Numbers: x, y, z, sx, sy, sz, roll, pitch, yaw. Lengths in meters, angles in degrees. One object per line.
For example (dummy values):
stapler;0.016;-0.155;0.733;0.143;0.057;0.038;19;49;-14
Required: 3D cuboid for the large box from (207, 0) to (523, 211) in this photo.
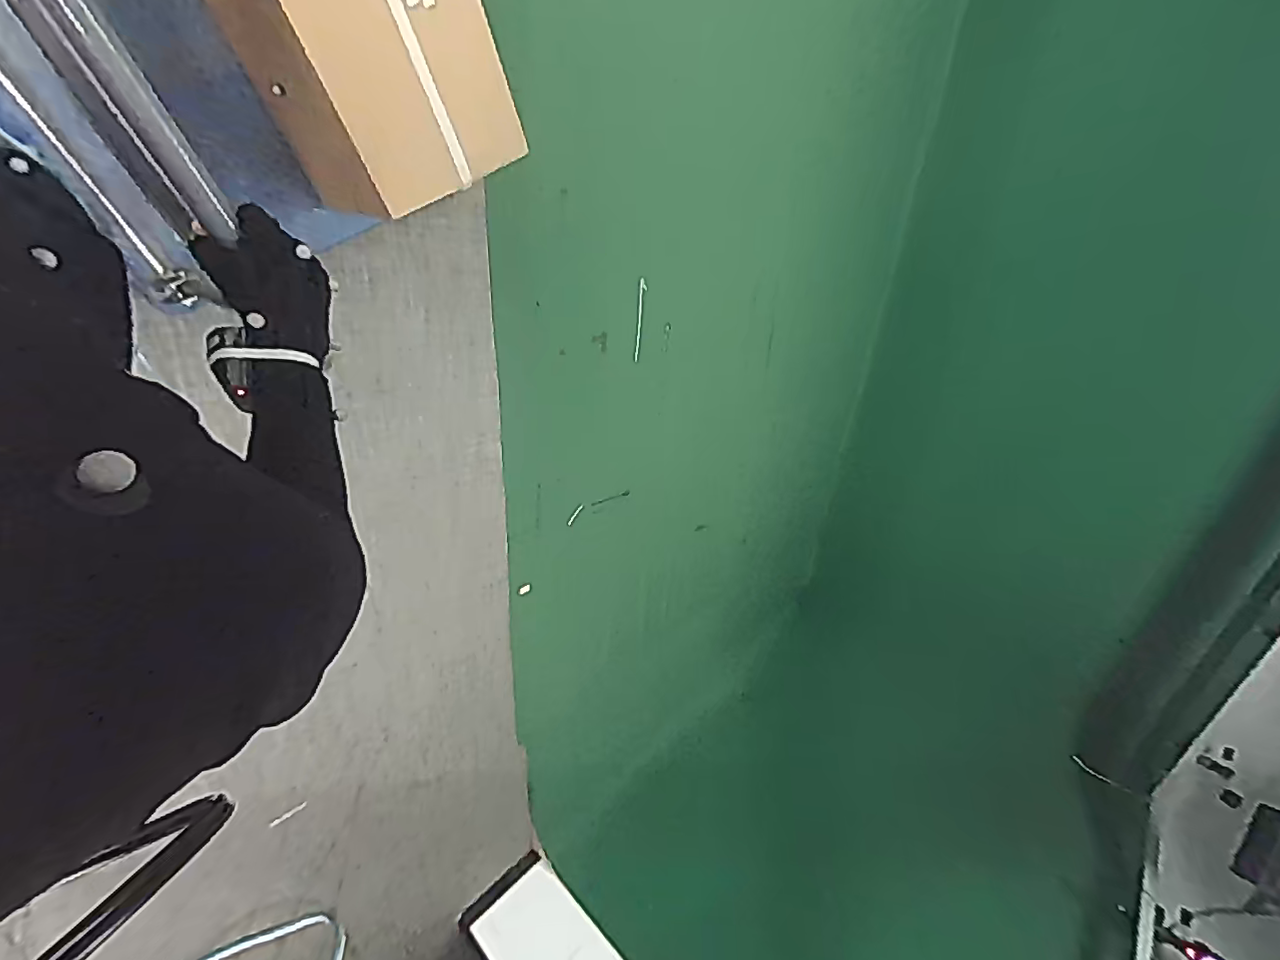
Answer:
large box;-0.476;-0.741;0.938;0.320;0.320;0.408;-44;139;-25
